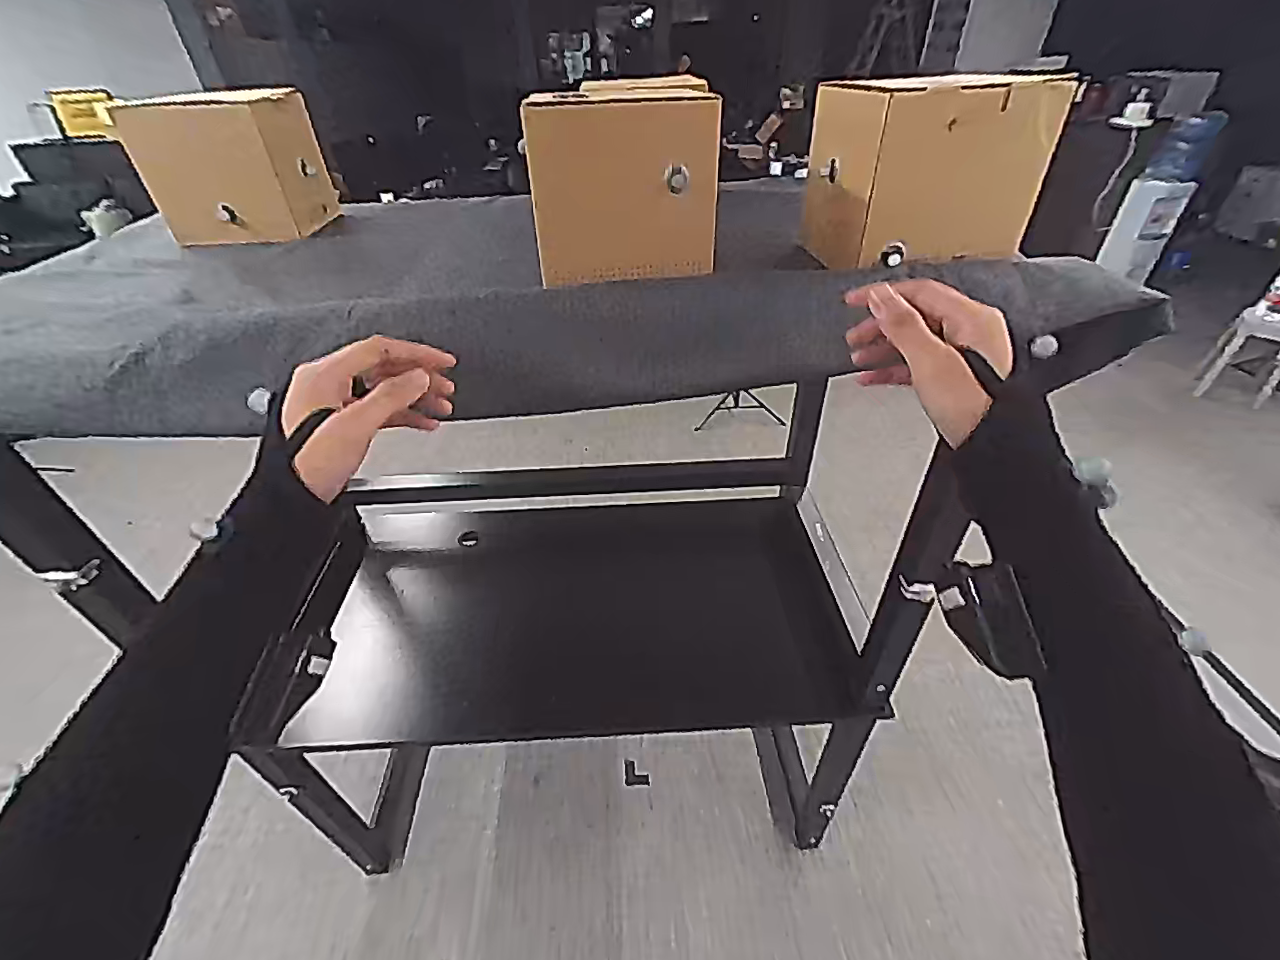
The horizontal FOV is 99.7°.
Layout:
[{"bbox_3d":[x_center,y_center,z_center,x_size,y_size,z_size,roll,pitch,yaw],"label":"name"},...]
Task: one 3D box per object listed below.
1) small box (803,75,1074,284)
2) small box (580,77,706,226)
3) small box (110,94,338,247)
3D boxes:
[{"bbox_3d":[0.285,-0.312,0.568,0.168,0.176,0.179,-5,37,-3],"label":"small box"},{"bbox_3d":[0.005,-0.483,0.800,0.168,0.176,0.179,-4,39,-1],"label":"small box"},{"bbox_3d":[-0.571,-0.445,0.779,0.179,0.176,0.168,-4,39,-3],"label":"small box"}]
